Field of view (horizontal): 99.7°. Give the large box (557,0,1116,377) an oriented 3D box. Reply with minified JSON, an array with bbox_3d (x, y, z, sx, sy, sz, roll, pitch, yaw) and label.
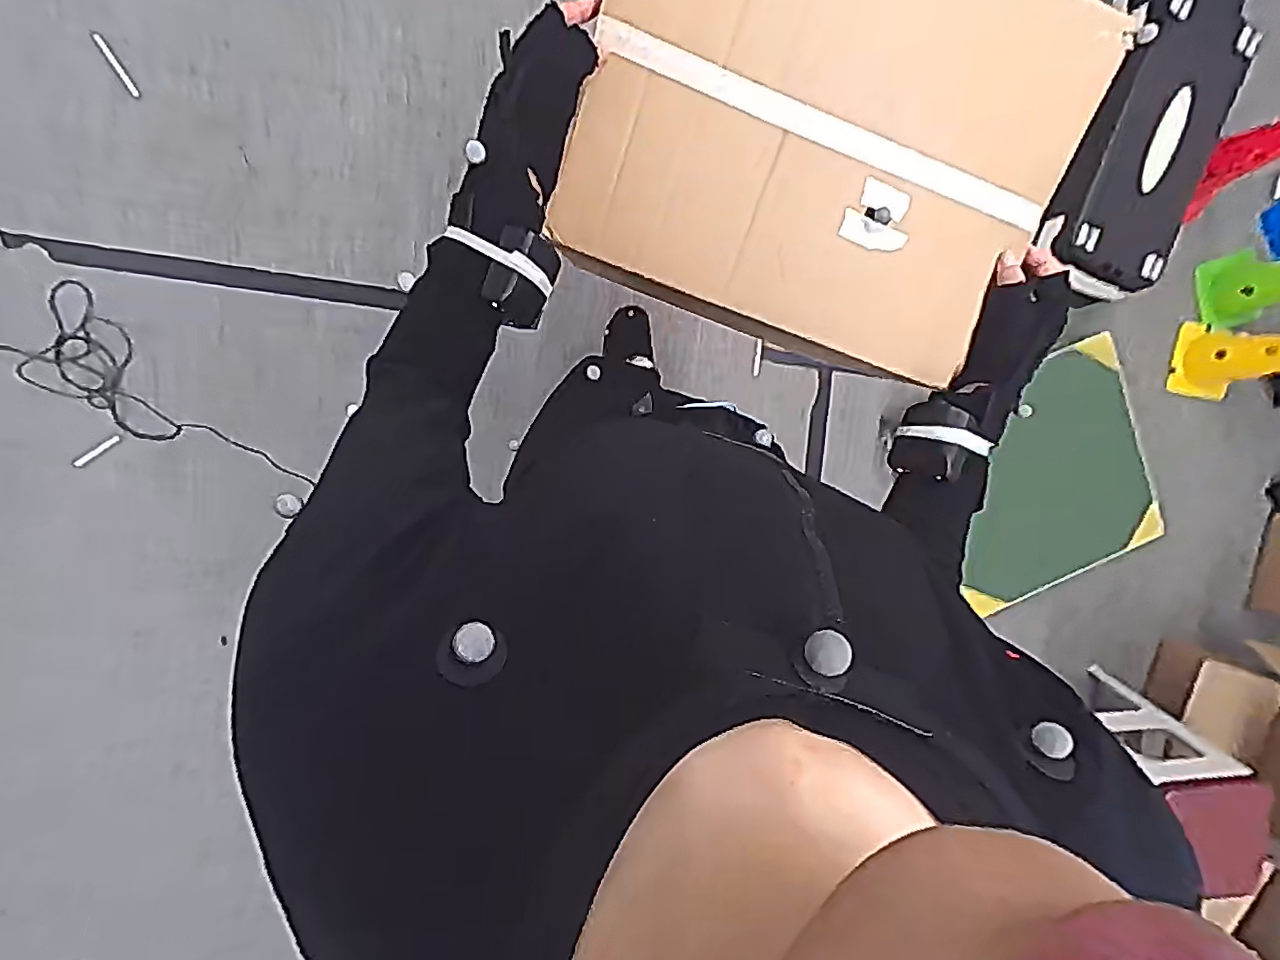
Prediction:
[{"bbox_3d":[0.152,-0.339,0.602,0.408,0.320,0.320,19,106,-8],"label":"large box"}]
